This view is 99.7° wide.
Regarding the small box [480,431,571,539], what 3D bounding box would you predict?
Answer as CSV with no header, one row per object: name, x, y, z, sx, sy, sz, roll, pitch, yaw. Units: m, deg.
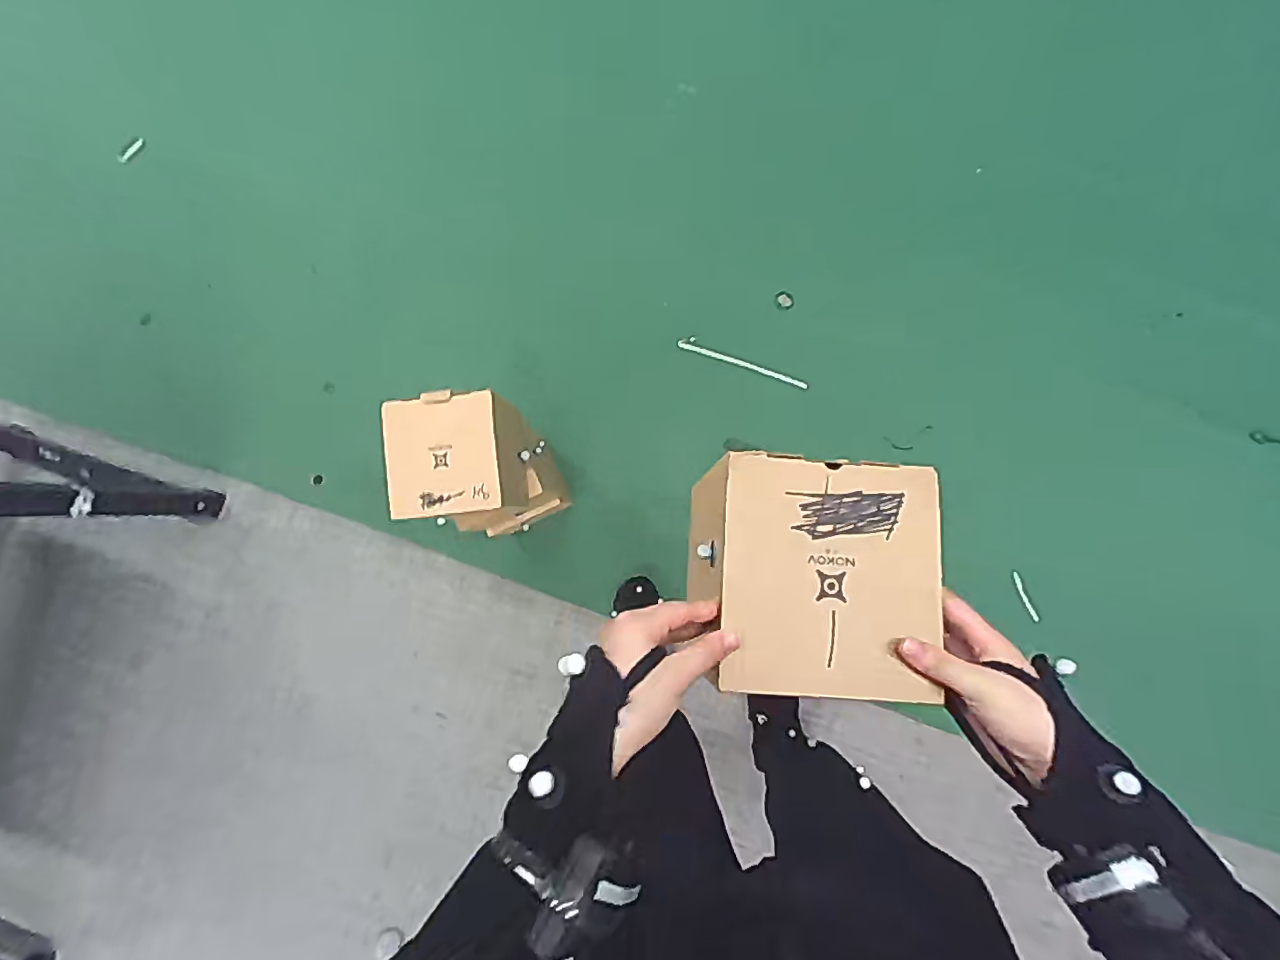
small box,-0.266,0.013,1.184,0.168,0.176,0.179,-26,85,1

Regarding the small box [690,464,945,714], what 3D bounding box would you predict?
small box,0.139,0.090,0.477,0.168,0.176,0.179,3,82,-2

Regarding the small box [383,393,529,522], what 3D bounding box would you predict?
small box,-0.282,-0.027,0.857,0.168,0.176,0.179,-6,86,3
